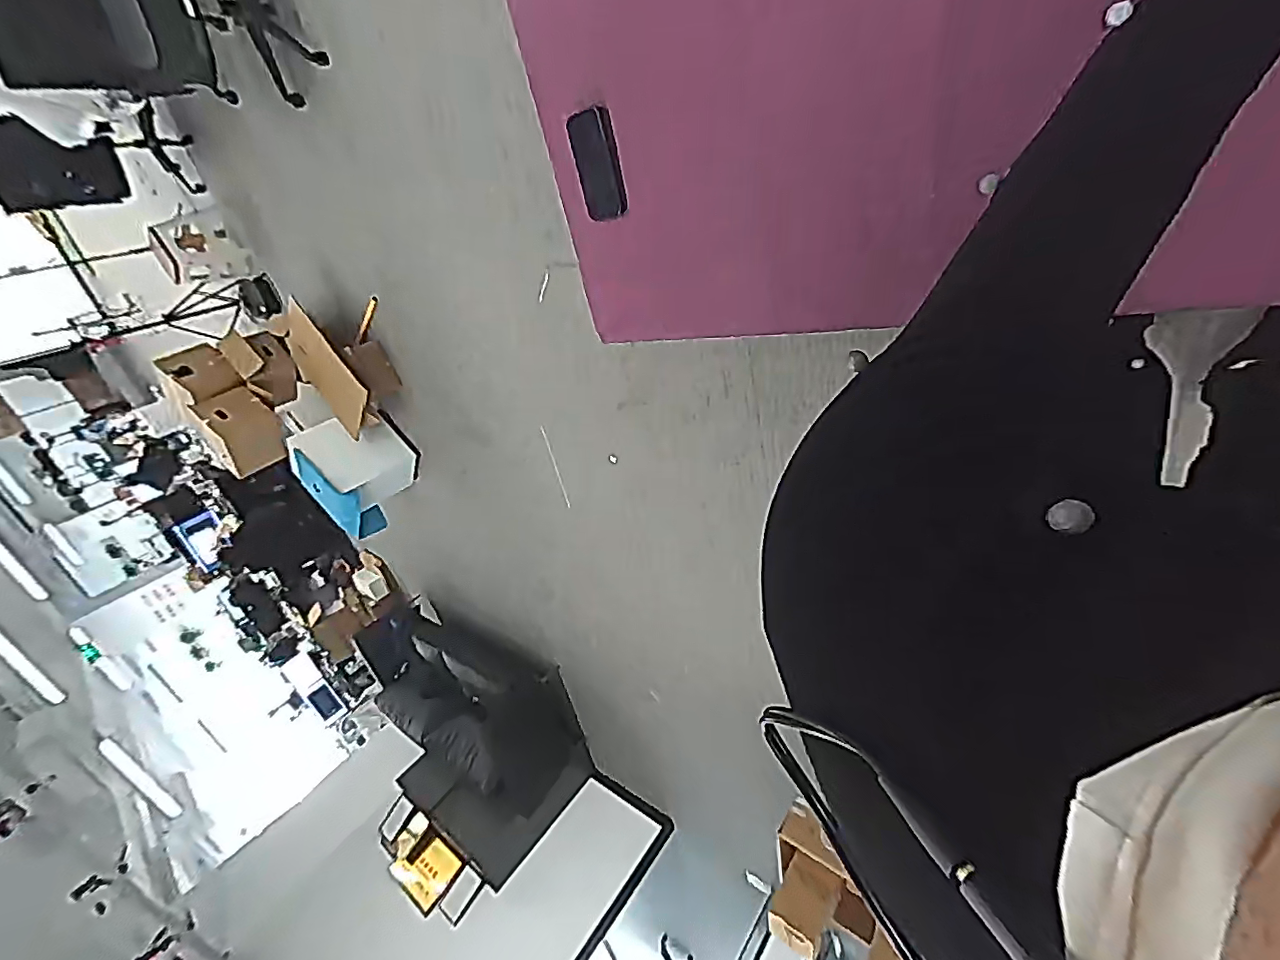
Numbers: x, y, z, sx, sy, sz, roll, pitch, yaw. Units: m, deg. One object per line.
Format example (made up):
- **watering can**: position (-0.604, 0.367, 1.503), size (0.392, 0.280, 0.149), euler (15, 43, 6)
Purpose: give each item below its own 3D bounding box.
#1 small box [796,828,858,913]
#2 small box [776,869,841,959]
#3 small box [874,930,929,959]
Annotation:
- **small box**: position (0.691, 1.443, 1.990), size (0.168, 0.176, 0.179), euler (16, 128, 38)
- **small box**: position (0.587, 1.514, 1.884), size (0.168, 0.176, 0.179), euler (18, 130, 38)
- **small box**: position (0.818, 1.580, 1.696), size (0.168, 0.176, 0.179), euler (17, 130, 36)
